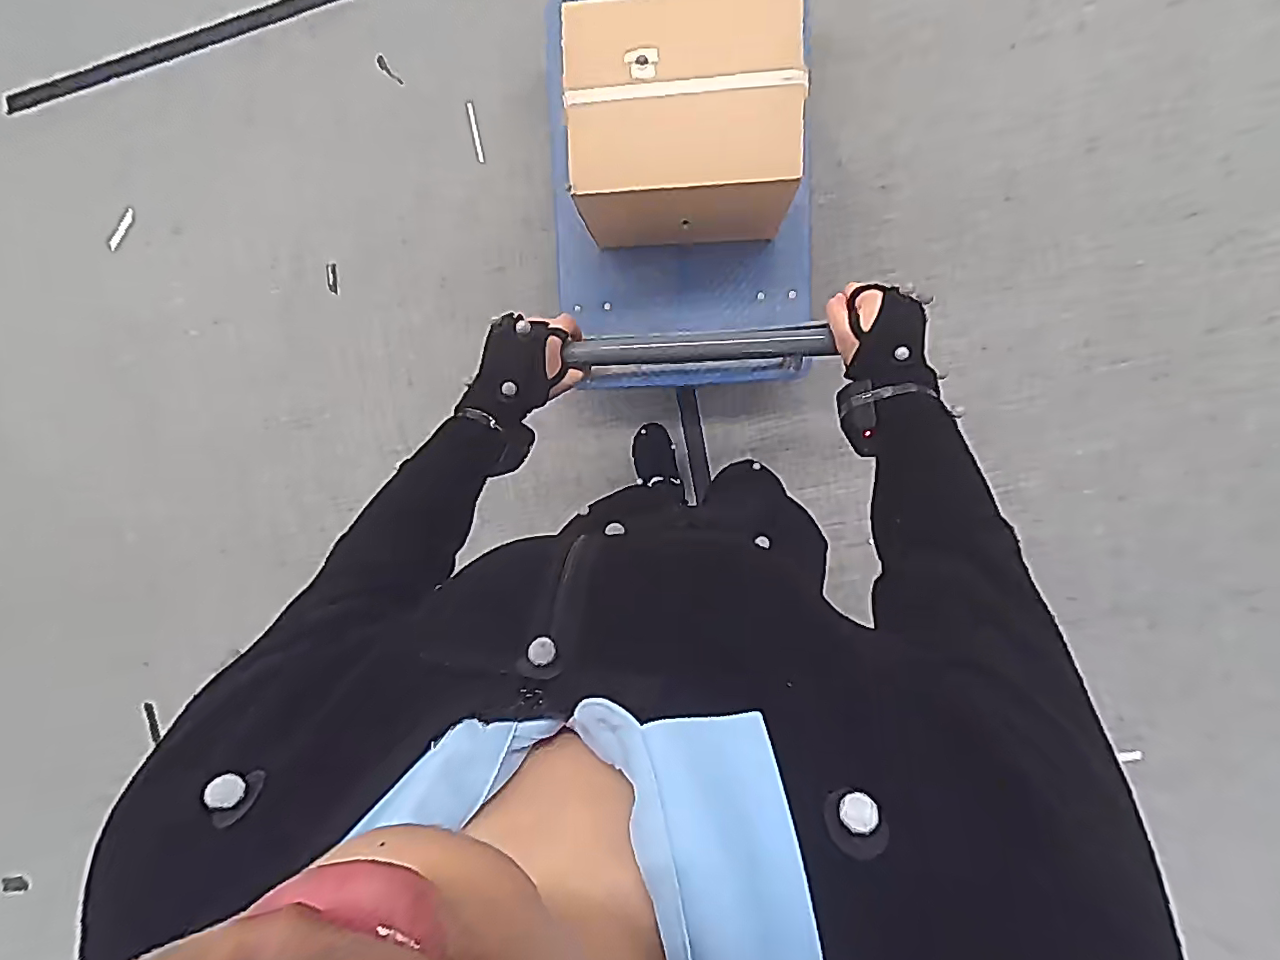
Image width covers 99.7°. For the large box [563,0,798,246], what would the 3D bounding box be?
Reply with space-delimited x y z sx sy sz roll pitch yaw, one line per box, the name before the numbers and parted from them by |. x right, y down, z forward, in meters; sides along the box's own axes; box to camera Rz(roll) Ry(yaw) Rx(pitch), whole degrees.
large box | 0.086 -0.686 1.087 0.408 0.320 0.320 -1 95 6
